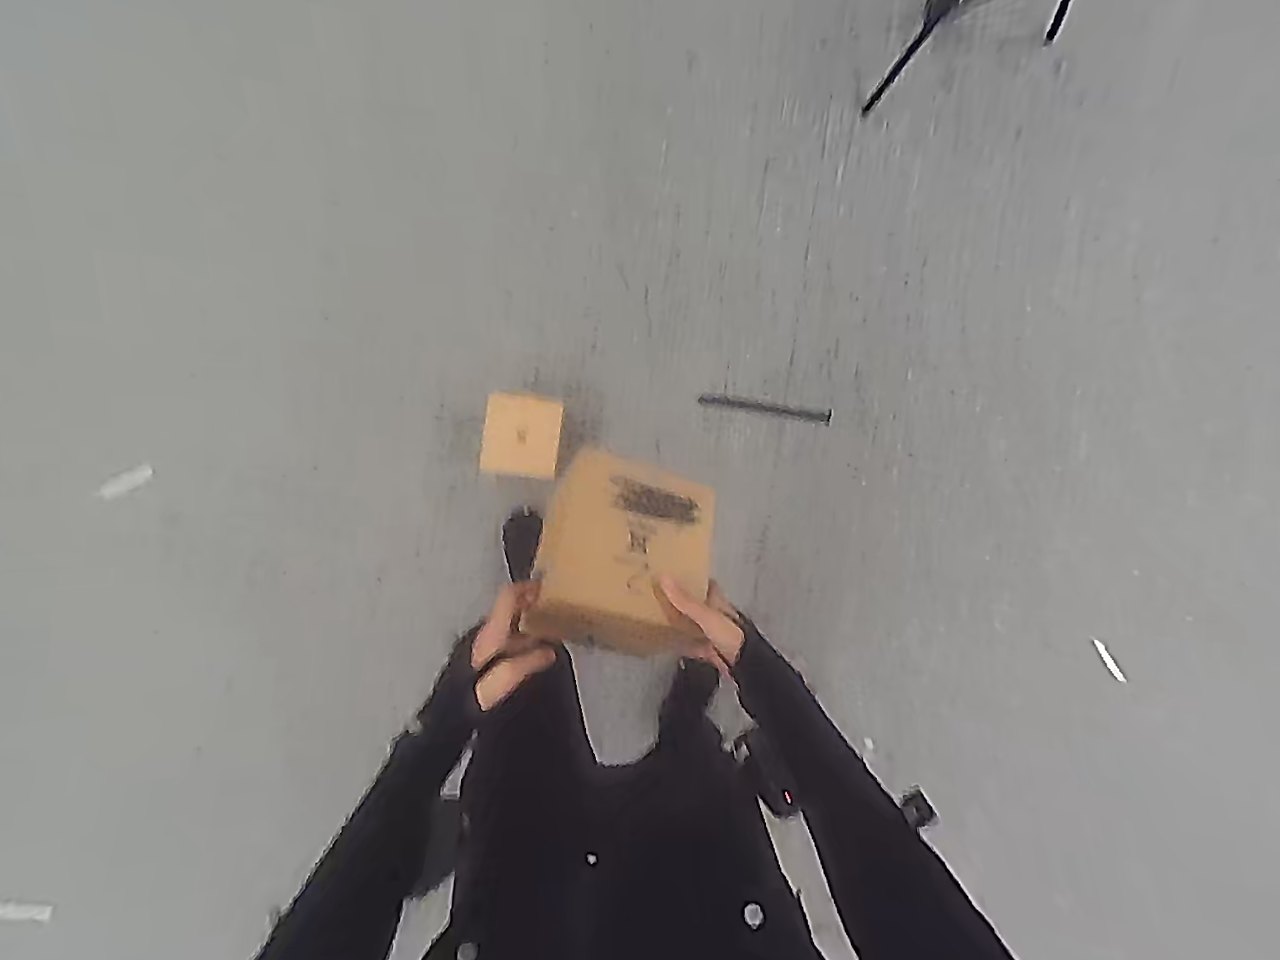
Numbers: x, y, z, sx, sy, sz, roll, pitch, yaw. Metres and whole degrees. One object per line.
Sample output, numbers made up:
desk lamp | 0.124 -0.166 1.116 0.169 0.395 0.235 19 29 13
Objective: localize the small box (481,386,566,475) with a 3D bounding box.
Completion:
small box | -0.267 -0.110 1.271 0.168 0.176 0.179 8 90 -6
